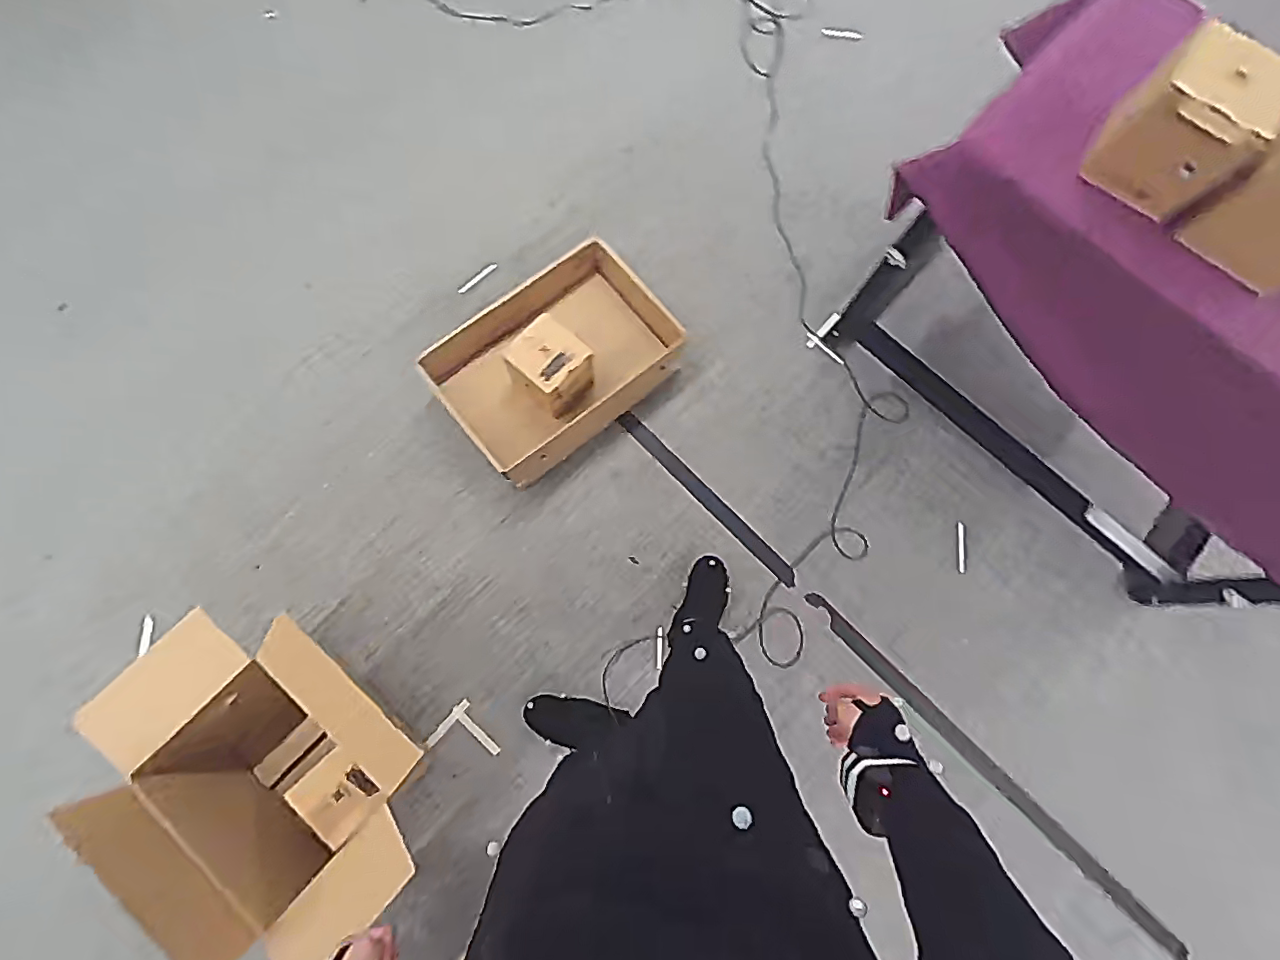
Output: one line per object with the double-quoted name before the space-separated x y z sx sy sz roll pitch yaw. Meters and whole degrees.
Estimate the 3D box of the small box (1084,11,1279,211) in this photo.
"small box" 0.882 -0.584 0.877 0.168 0.176 0.179 36 77 5
